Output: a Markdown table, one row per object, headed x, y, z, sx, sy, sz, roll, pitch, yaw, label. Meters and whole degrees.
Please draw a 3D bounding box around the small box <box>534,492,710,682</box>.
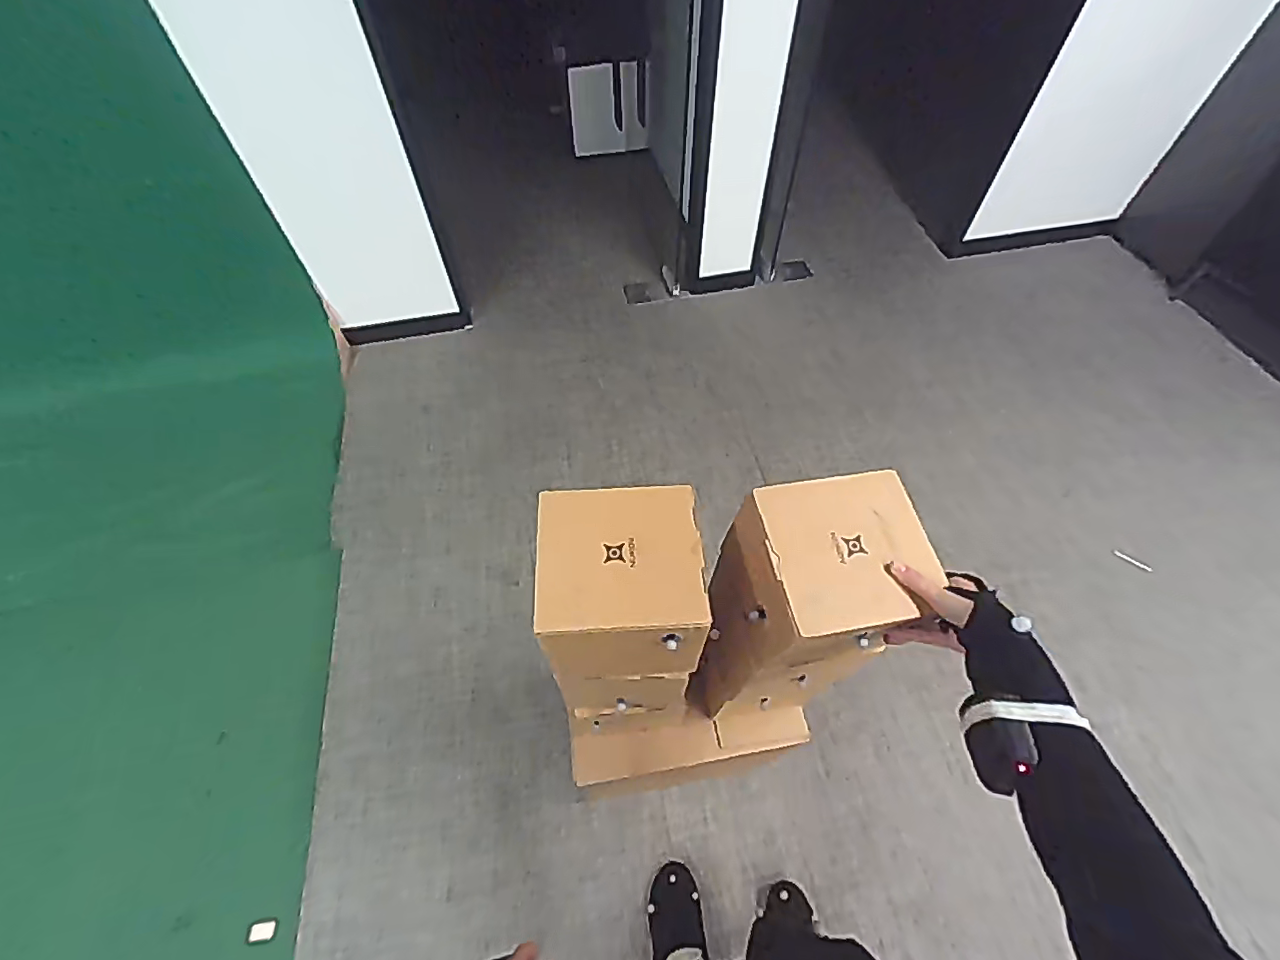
| x | y | z | sx | sy | sz | roll | pitch | yaw | label |
| --- | --- | --- | --- | --- | --- | --- | --- | --- | --- |
| -0.021 | 0.131 | 0.636 | 0.179 | 0.176 | 0.168 | -3 | 55 | -3 | small box |
